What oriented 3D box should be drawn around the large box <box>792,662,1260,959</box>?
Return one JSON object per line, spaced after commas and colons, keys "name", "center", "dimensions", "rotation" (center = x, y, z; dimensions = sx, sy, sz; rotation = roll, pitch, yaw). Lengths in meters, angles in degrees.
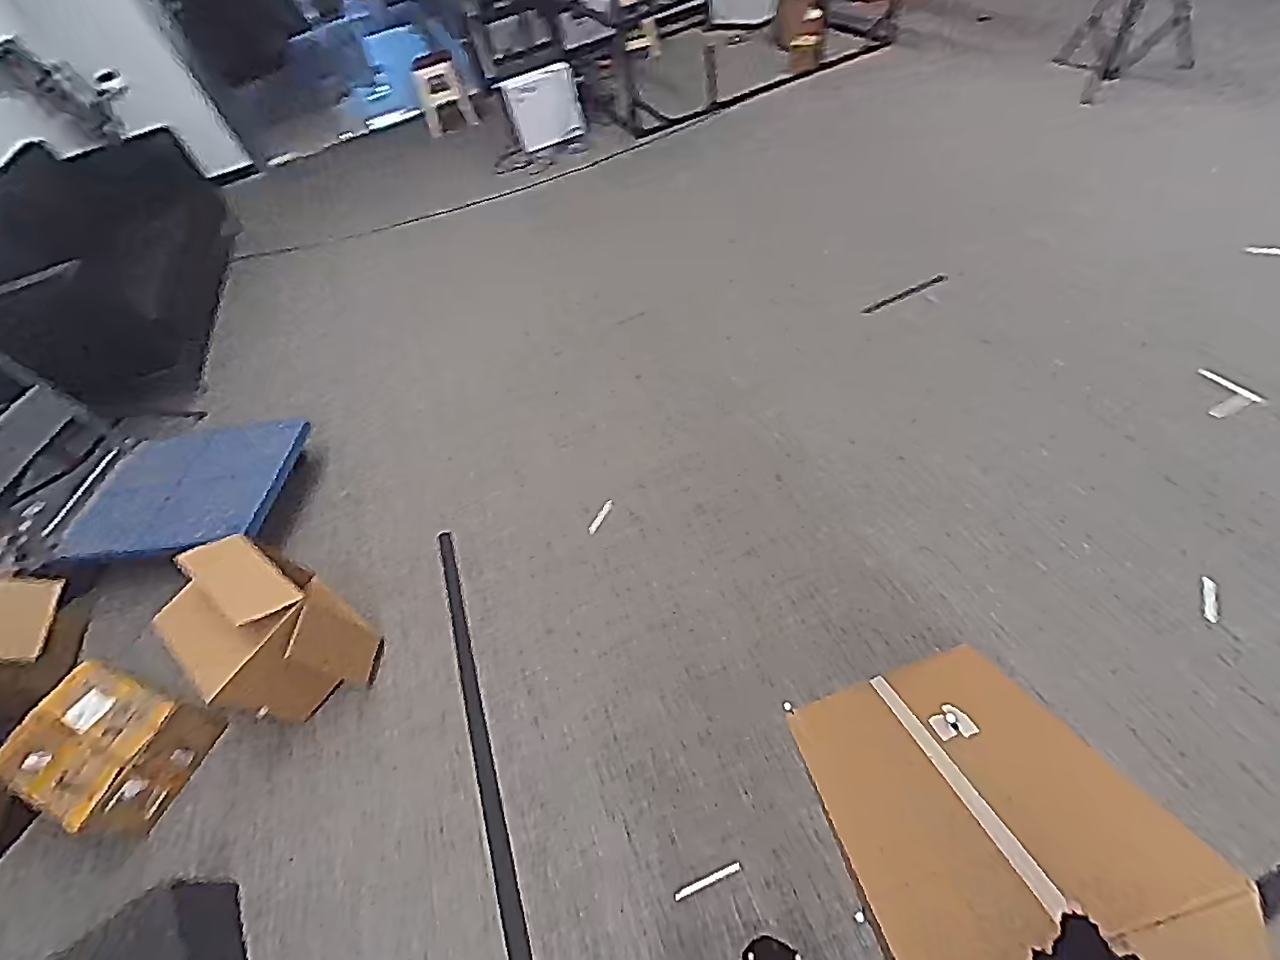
{"name": "large box", "center": [0.449, 0.519, 0.704], "dimensions": [0.320, 0.320, 0.408], "rotation": [-21, 12, 3]}
